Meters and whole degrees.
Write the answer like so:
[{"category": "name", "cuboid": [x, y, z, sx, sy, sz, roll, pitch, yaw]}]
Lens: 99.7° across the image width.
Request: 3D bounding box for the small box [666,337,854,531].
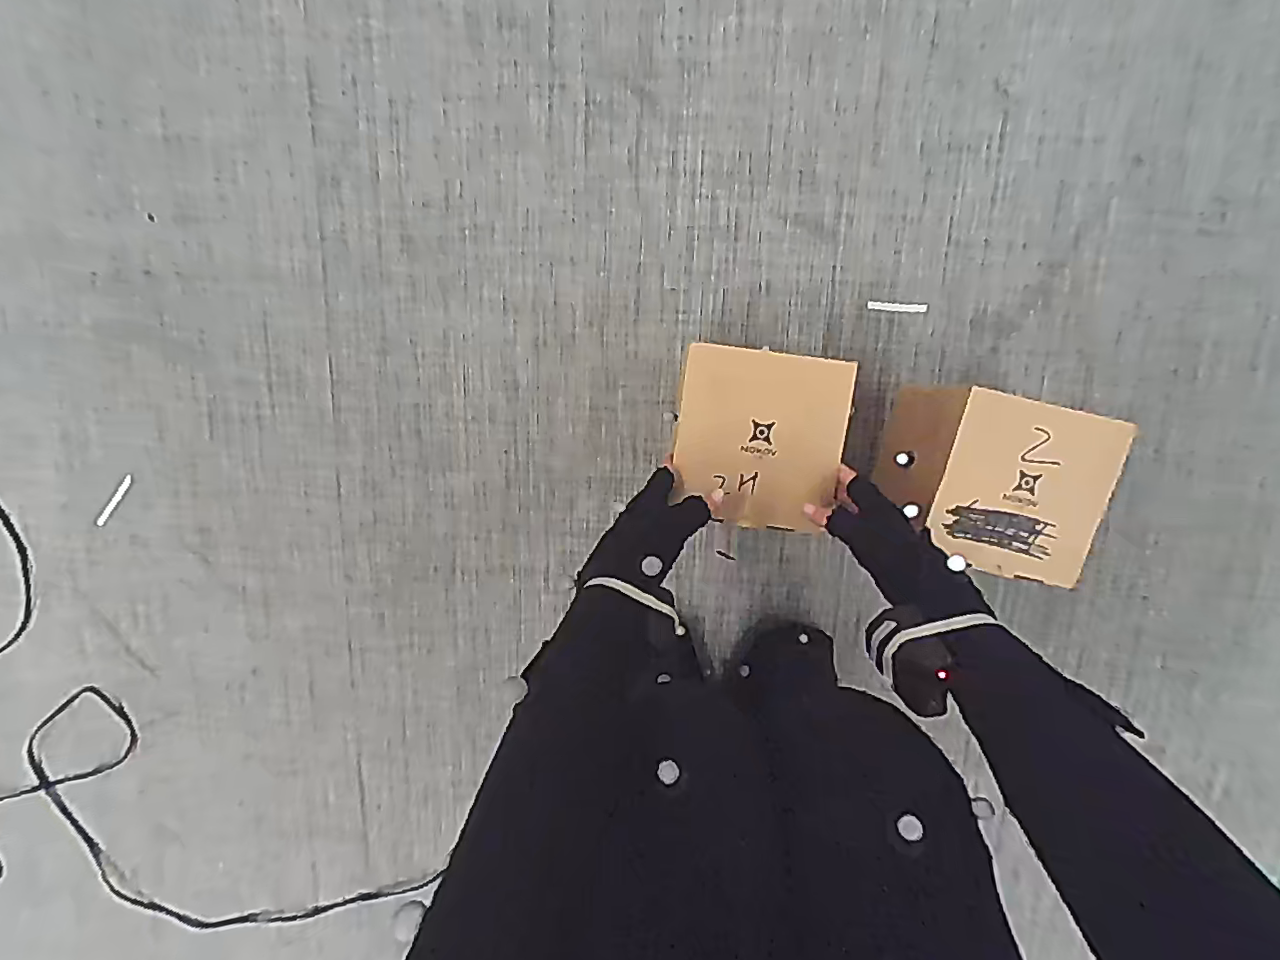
[{"category": "small box", "cuboid": [0.121, -0.054, 0.615, 0.168, 0.176, 0.179, 8, 98, 3]}]
